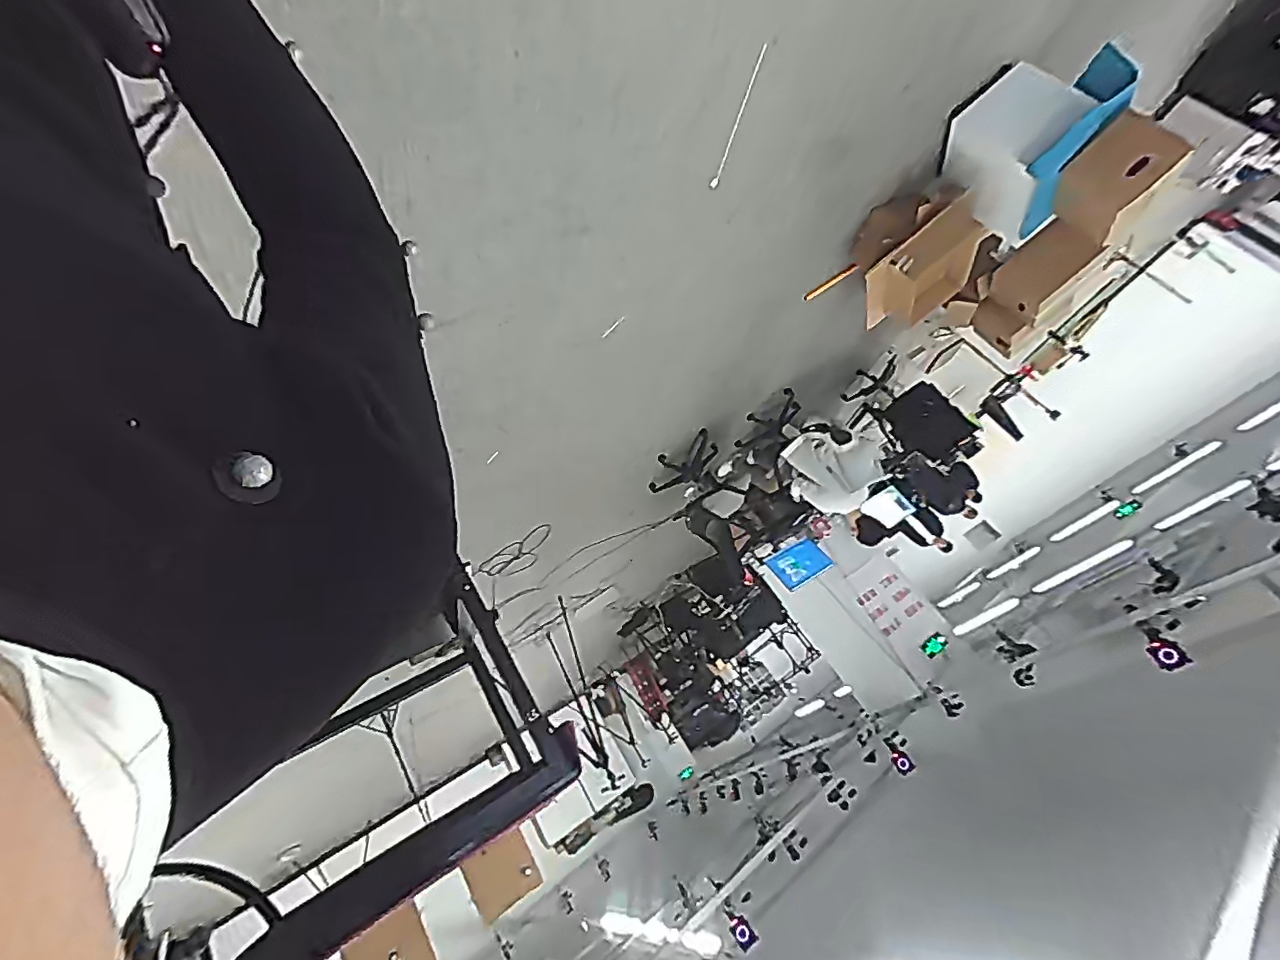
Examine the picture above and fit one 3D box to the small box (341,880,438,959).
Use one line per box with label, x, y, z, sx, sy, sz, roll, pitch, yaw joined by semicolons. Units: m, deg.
small box;-0.623;1.141;1.342;0.179;0.176;0.168;-21;155;-35
